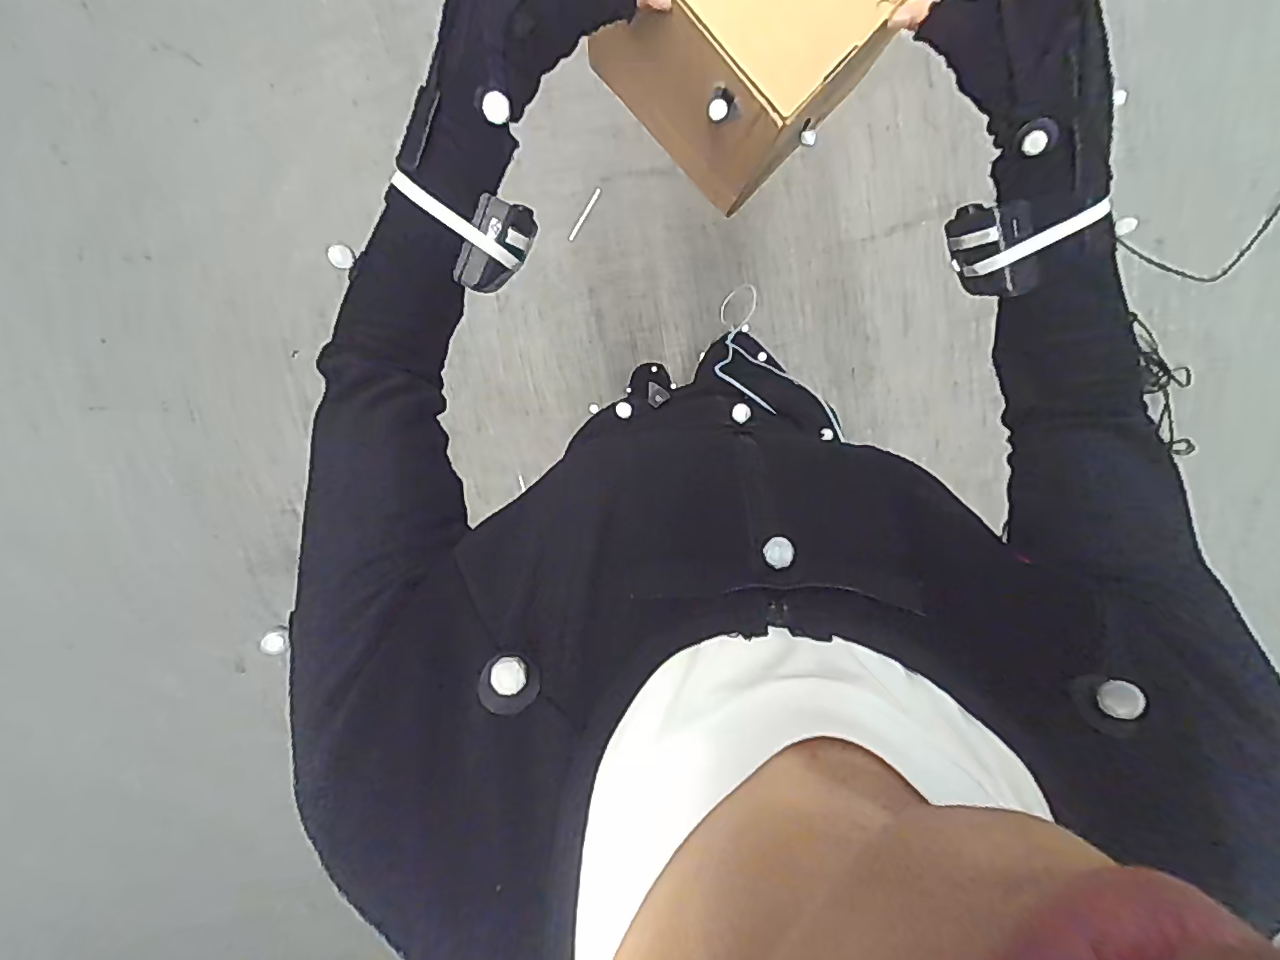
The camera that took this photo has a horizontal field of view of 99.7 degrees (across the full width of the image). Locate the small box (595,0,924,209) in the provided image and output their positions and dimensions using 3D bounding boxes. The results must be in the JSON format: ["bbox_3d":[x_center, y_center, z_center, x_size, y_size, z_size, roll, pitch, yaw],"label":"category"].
[{"bbox_3d":[0.078,-0.340,0.393,0.179,0.176,0.168,44,93,-8],"label":"small box"}]
